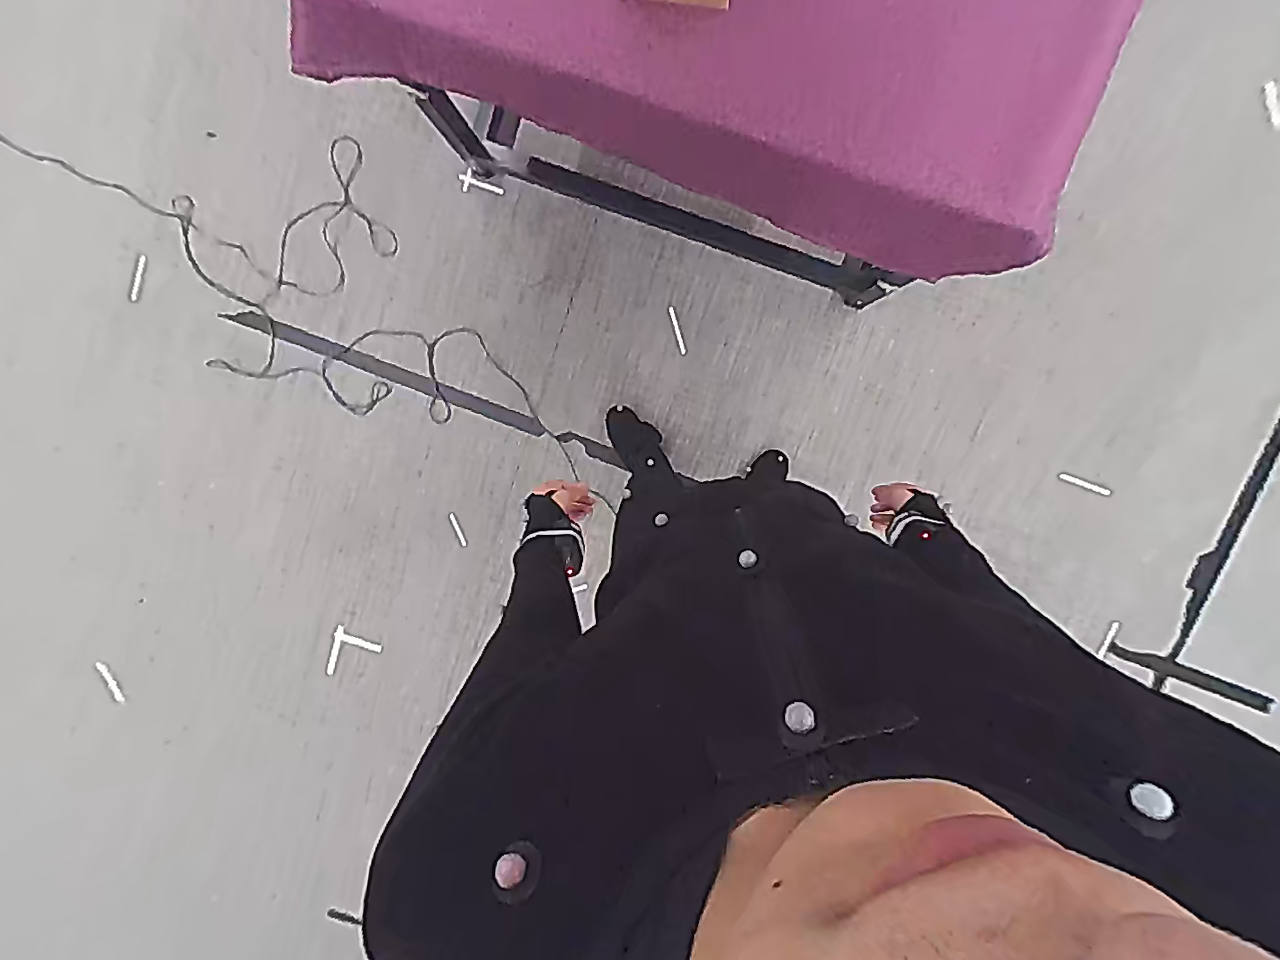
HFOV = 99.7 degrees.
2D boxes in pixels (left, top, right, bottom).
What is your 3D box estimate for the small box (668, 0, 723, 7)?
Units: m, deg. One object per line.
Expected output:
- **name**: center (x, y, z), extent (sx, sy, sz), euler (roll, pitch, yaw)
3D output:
- **small box**: center (0.051, -0.782, 0.718), extent (0.179, 0.176, 0.168), euler (9, 98, 1)
